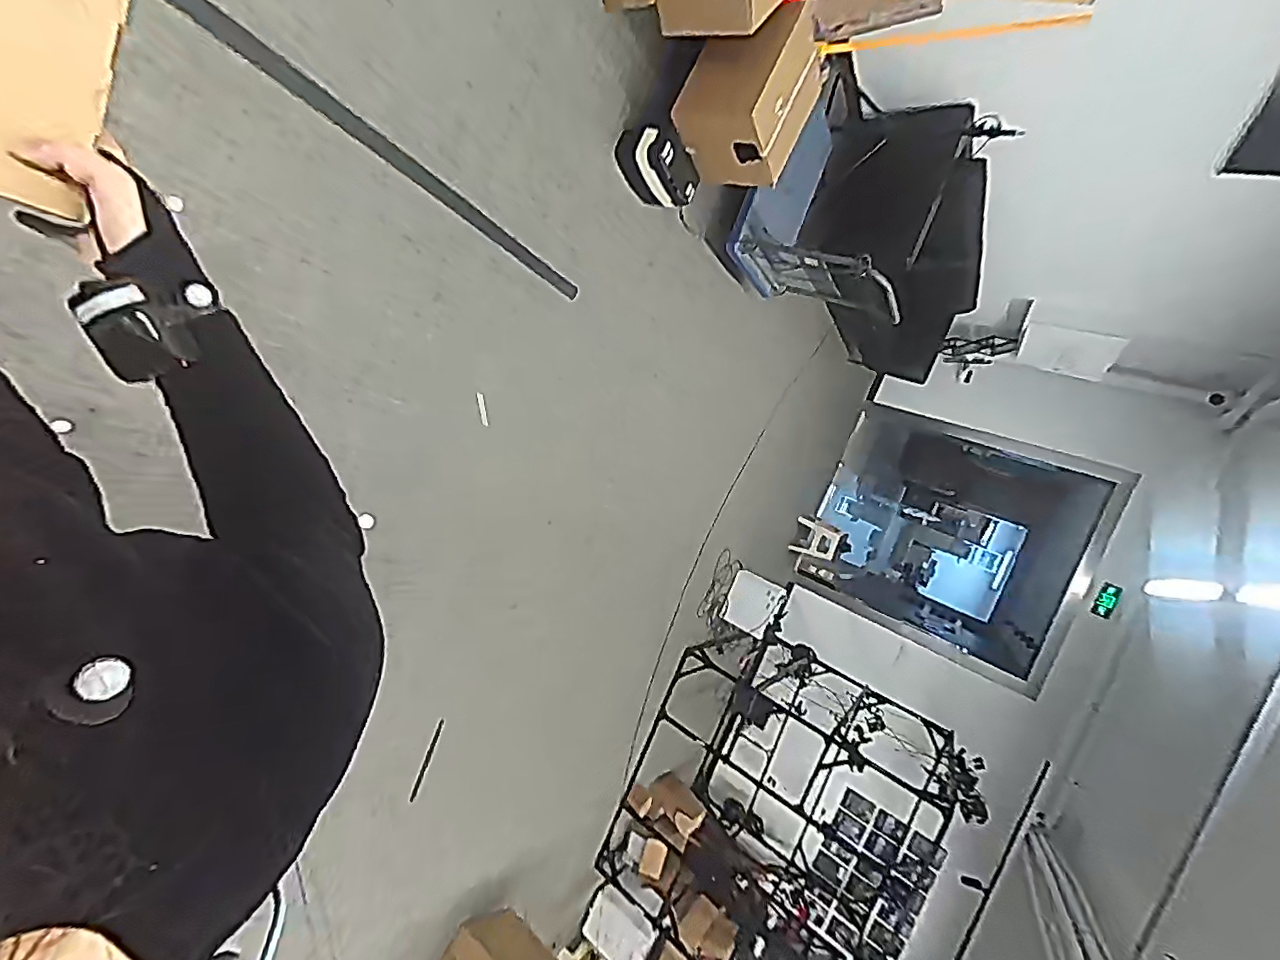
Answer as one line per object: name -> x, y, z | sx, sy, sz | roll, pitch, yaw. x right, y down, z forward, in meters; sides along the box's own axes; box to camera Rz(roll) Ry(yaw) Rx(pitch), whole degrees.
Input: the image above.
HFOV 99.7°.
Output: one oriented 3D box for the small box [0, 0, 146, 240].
small box -> -0.457, -0.274, 0.326 | 0.179, 0.176, 0.168 | 6, 106, -61
